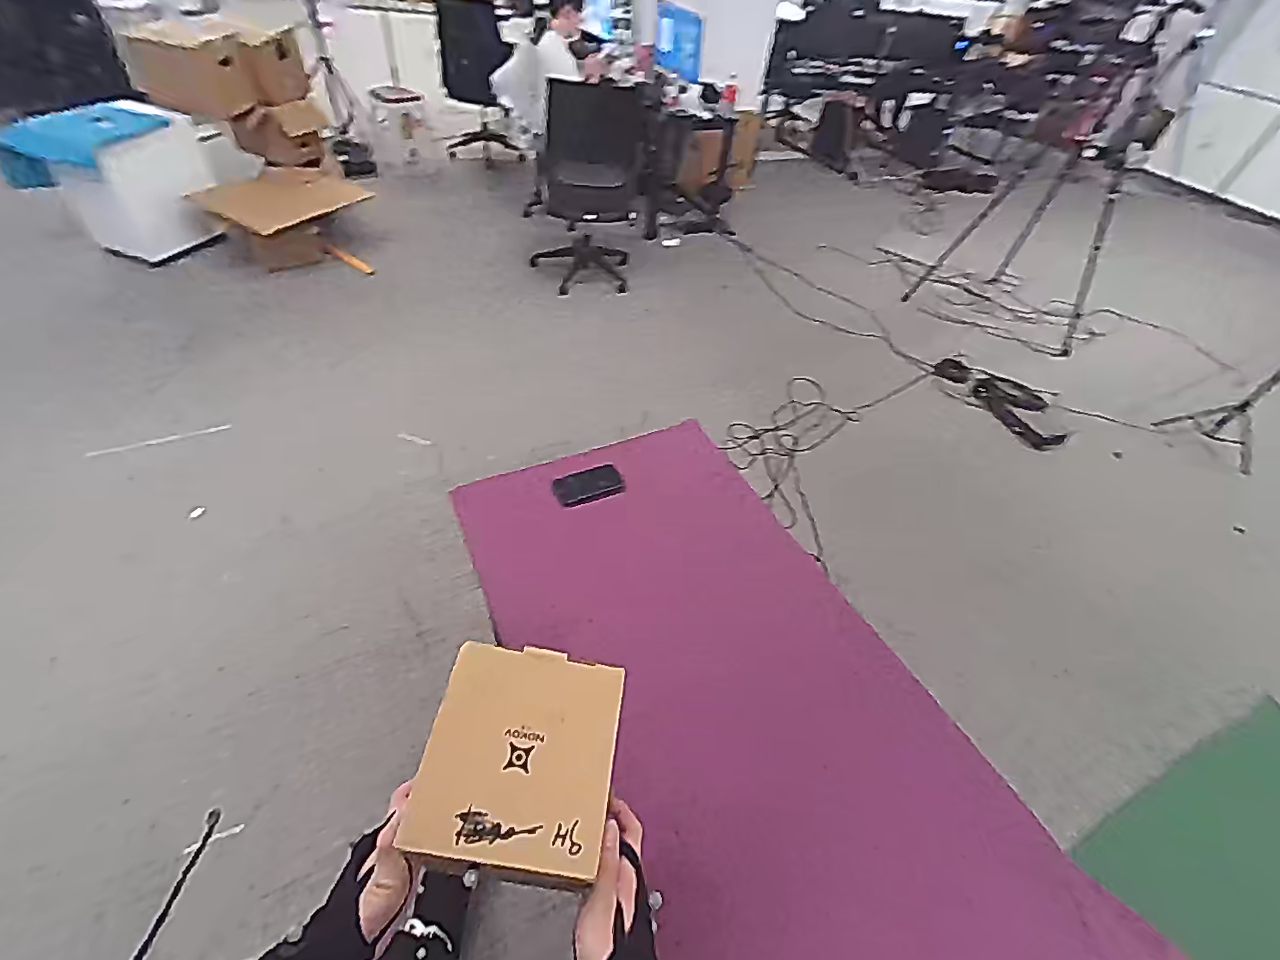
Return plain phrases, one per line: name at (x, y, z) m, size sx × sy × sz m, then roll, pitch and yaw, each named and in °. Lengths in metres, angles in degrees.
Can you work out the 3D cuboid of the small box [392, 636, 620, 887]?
small box at (-0.121, 0.285, 0.544) m, size 0.168 × 0.176 × 0.179 m, roll 10°, pitch 49°, yaw -2°
